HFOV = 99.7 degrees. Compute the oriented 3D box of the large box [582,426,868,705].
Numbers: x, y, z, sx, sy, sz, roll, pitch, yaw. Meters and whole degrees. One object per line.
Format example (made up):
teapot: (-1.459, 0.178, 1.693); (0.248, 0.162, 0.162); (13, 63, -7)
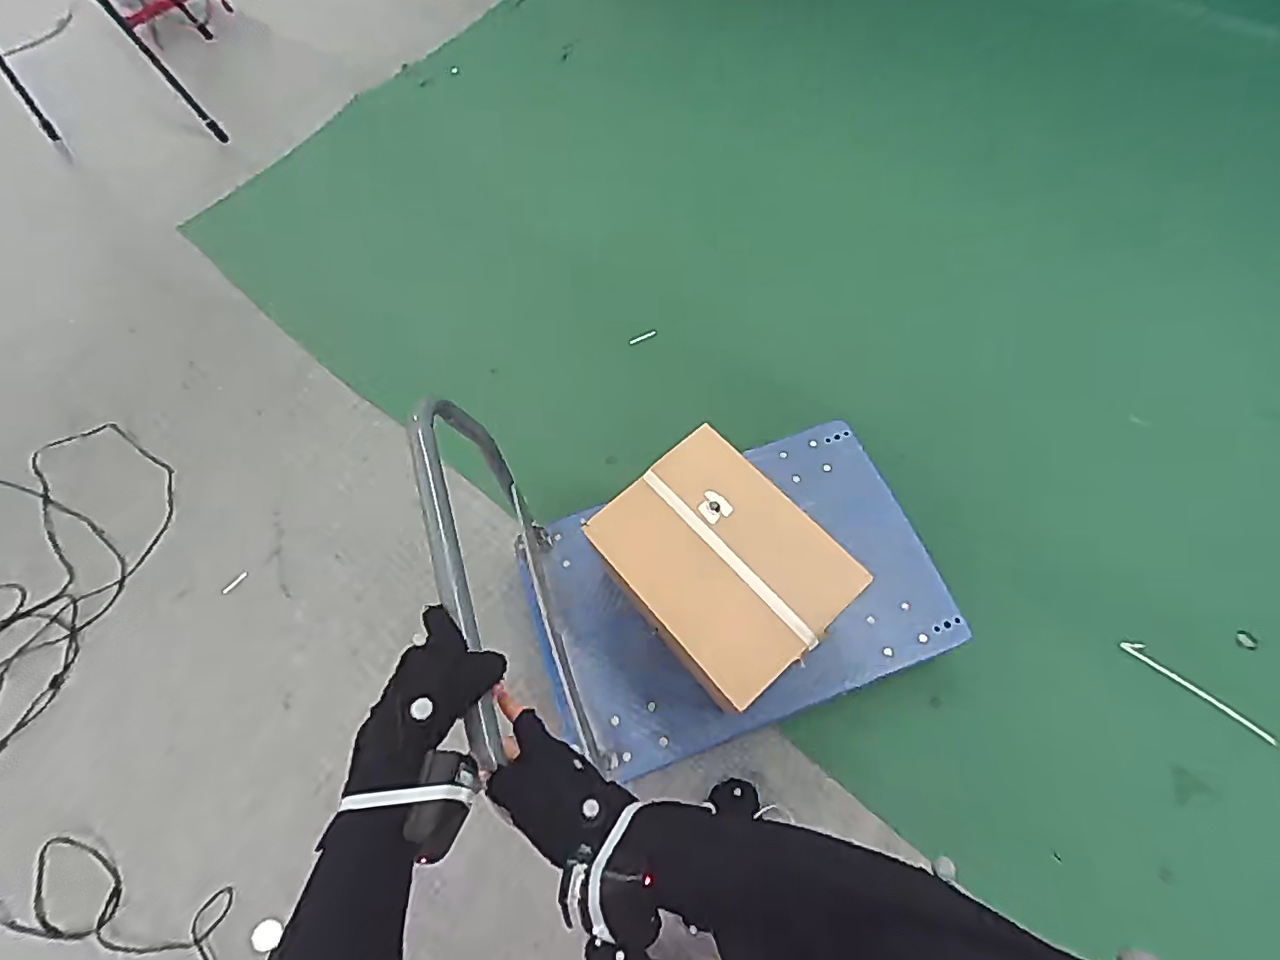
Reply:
large box: (0.153, 0.180, 1.067); (0.320, 0.320, 0.408); (-39, 68, -12)
